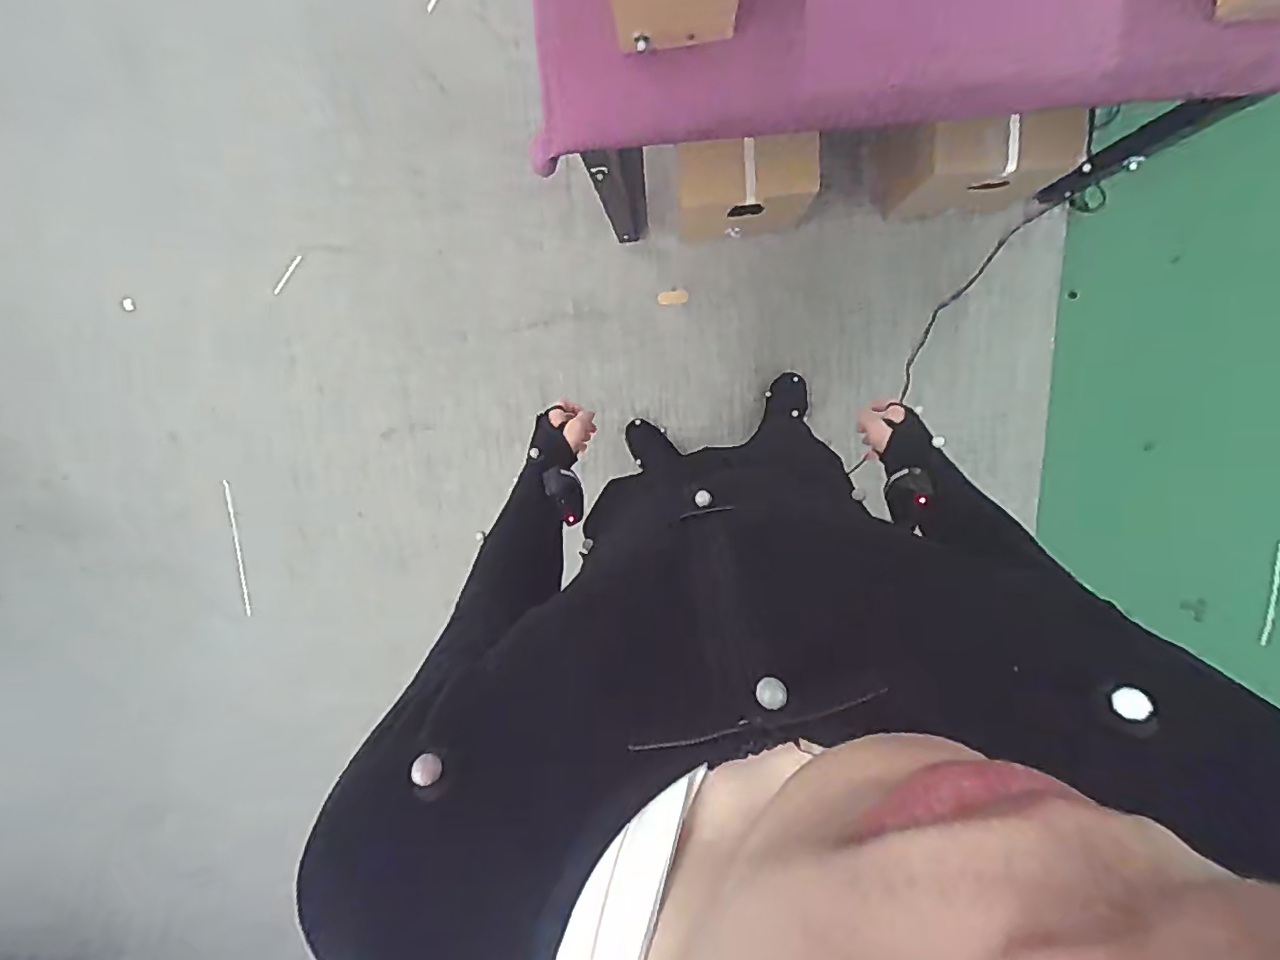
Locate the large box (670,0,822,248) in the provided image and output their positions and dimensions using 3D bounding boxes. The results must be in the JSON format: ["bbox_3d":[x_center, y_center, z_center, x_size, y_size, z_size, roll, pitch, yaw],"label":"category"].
[{"bbox_3d":[0.248,-0.840,1.337,0.320,0.320,0.408,-4,97,5],"label":"large box"}]

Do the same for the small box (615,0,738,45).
[{"bbox_3d":[0.045,-0.707,0.702,0.168,0.176,0.179,-3,97,5],"label":"small box"}]

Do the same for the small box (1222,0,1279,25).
[{"bbox_3d":[0.850,-0.688,0.631,0.168,0.176,0.179,1,97,7],"label":"small box"}]
